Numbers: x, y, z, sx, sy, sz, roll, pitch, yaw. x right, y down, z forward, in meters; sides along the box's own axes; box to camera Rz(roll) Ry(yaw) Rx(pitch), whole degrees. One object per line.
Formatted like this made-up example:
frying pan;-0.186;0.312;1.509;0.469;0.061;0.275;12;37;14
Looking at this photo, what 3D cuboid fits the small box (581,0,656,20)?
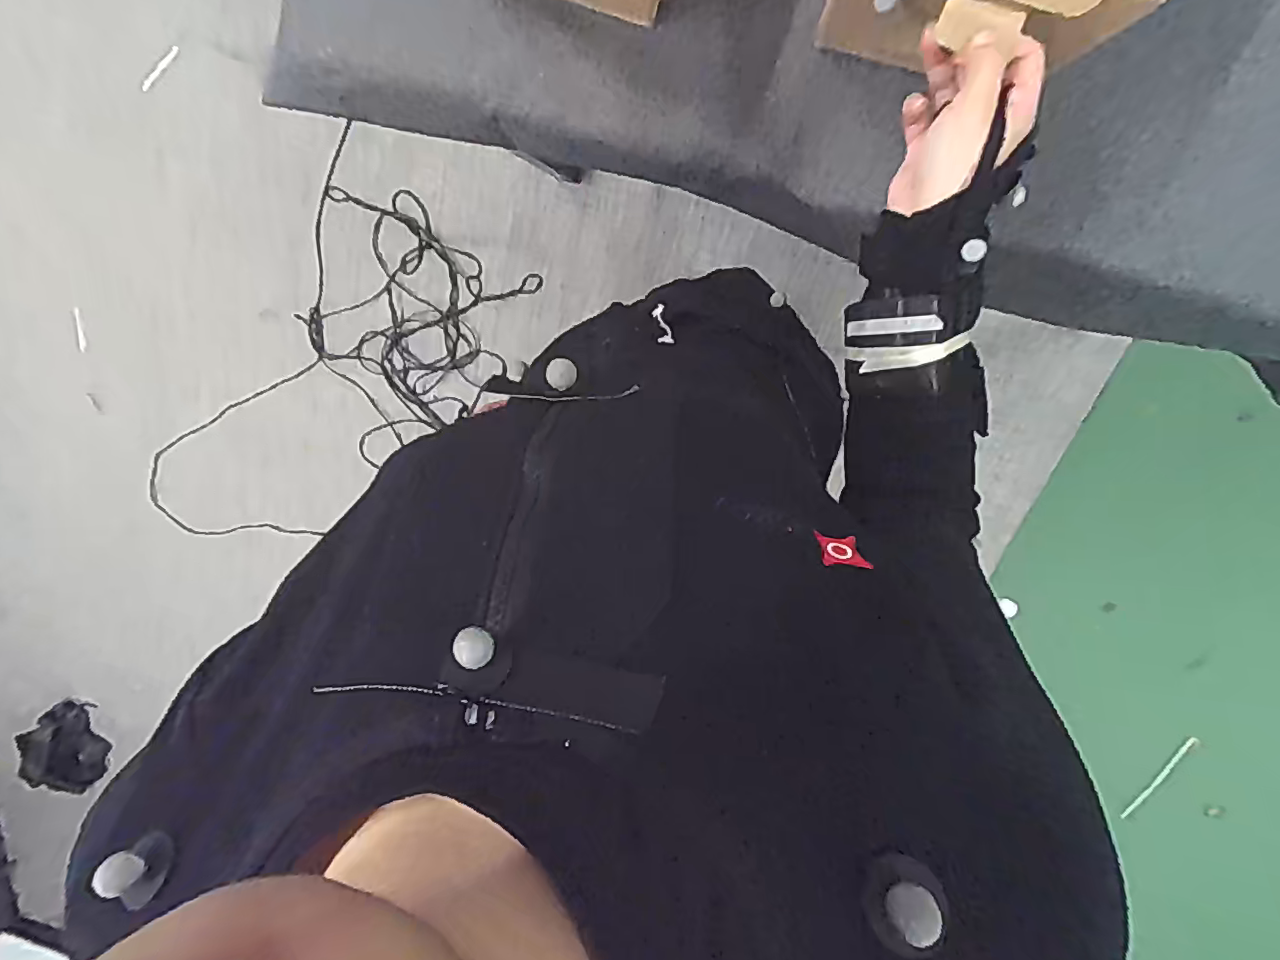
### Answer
small box;-0.052;-0.454;0.351;0.168;0.176;0.179;19;110;1
